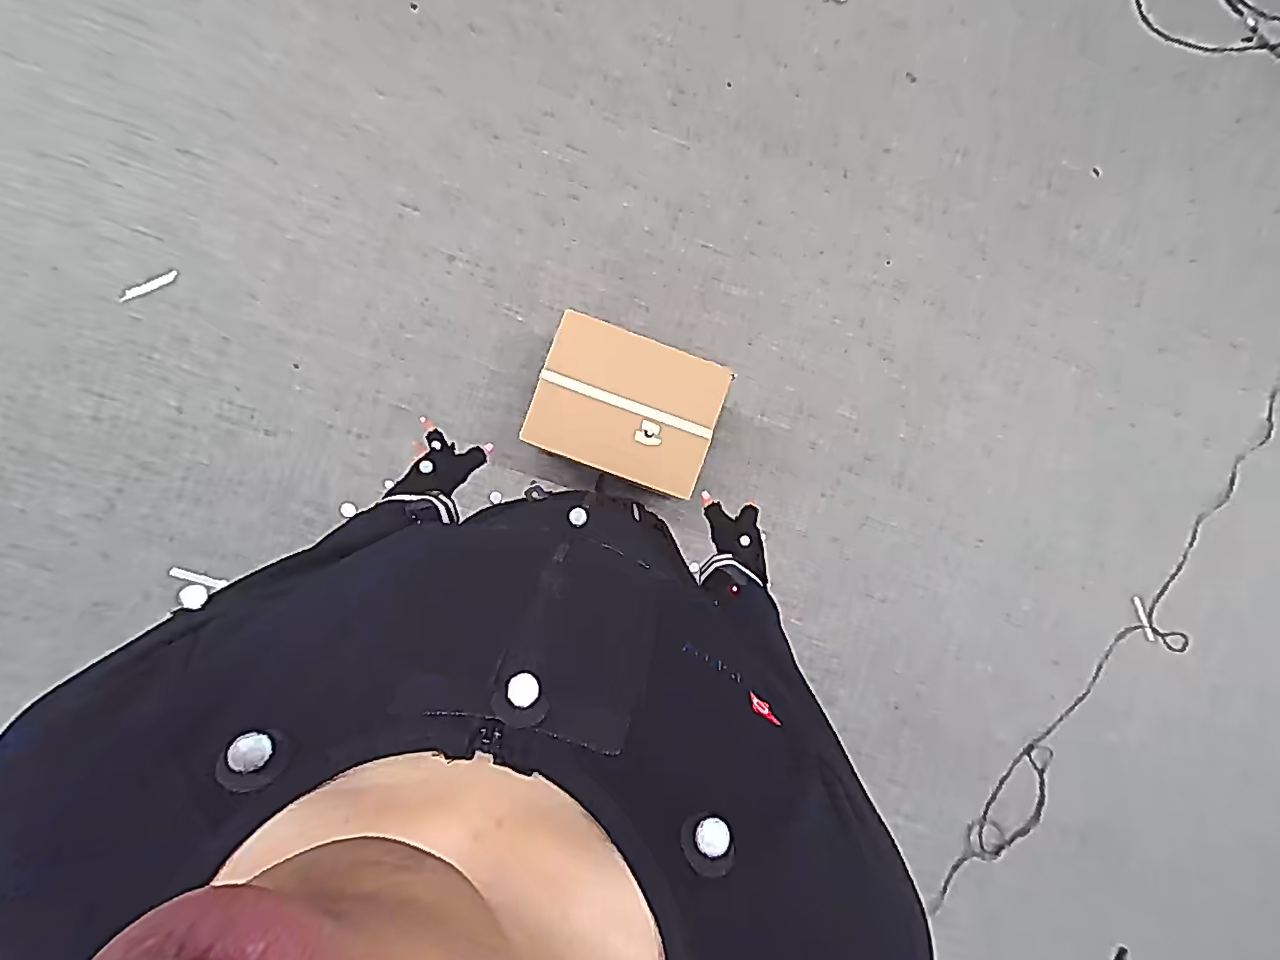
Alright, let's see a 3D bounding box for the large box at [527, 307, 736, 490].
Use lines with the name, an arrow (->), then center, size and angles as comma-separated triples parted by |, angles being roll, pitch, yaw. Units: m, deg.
large box -> -0.029, -0.180, 1.351 | 0.408, 0.320, 0.320 | 19, 89, -4
